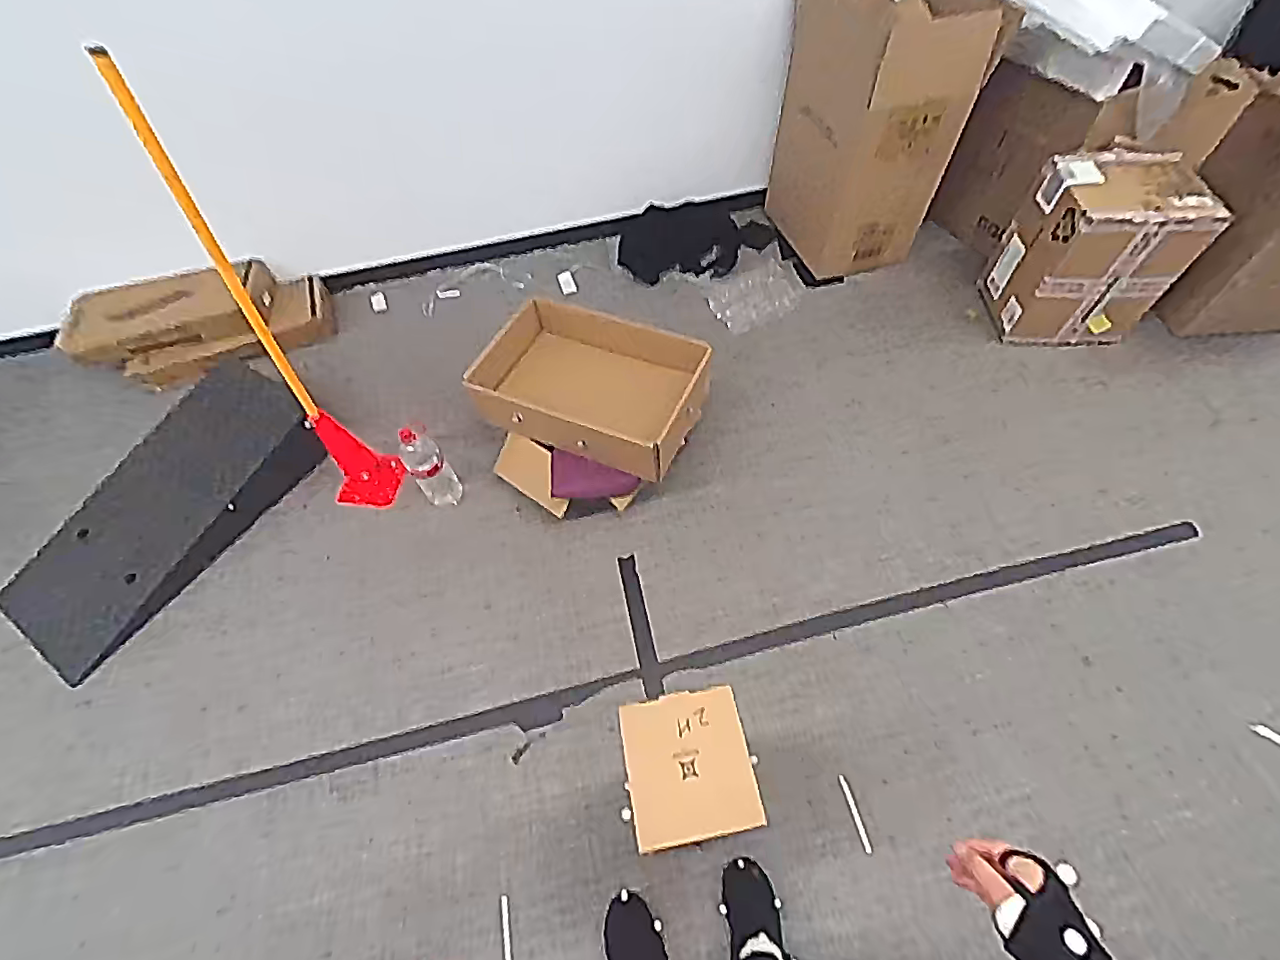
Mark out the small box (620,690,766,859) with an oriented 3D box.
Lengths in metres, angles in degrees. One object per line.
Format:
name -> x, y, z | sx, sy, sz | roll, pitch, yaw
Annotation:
small box -> 0.071, 0.427, 0.783 | 0.168, 0.176, 0.179 | -11, 55, -3
